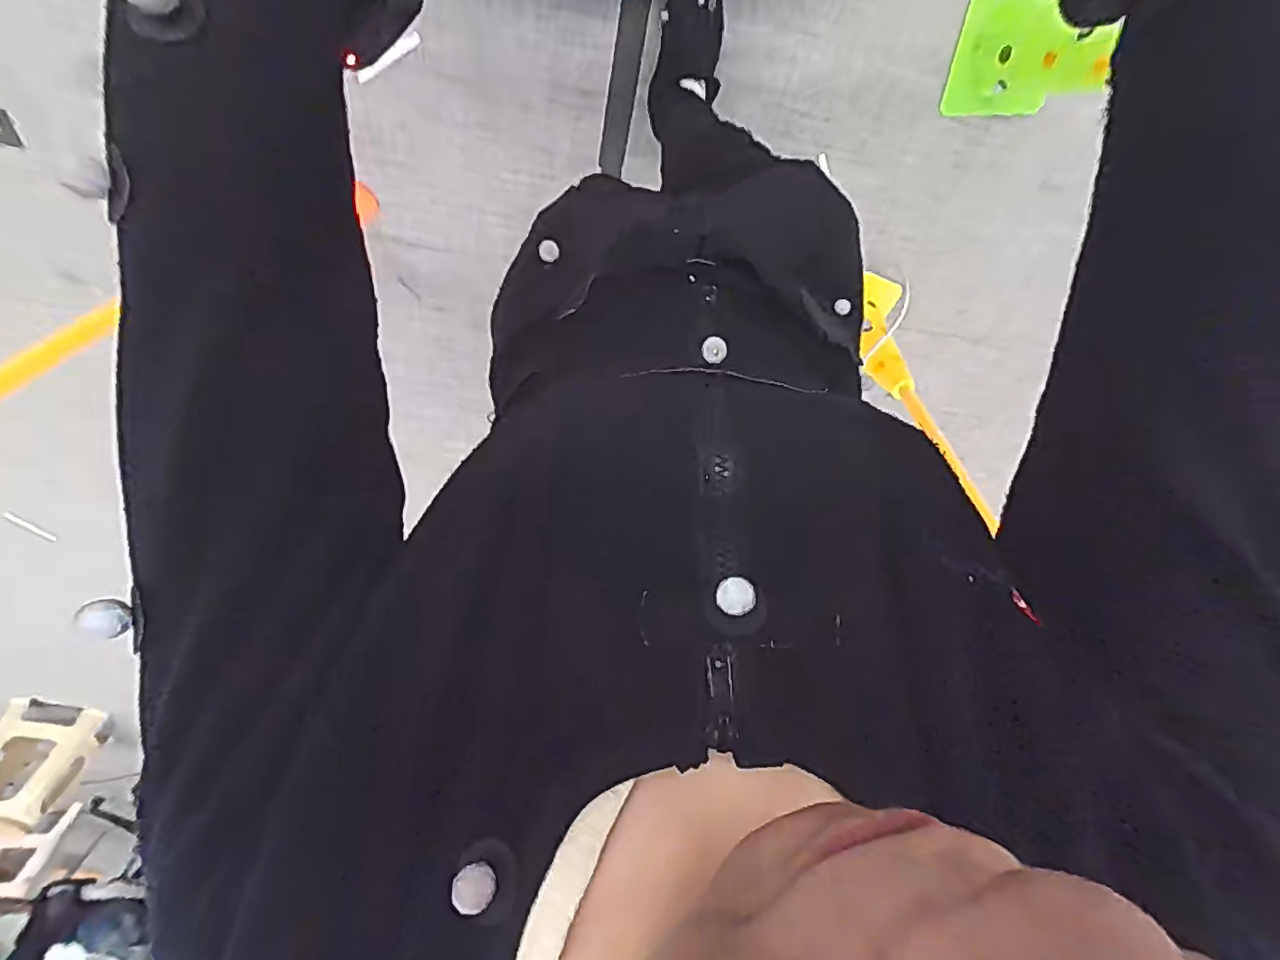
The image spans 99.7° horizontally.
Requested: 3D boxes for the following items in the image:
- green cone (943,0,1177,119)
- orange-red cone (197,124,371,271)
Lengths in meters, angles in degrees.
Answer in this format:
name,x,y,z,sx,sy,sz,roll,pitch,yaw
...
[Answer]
name,x,y,z,sx,sy,sz,roll,pitch,yaw
green cone,0.670,-0.648,0.833,0.200,0.368,0.202,-3,133,0
orange-red cone,-0.659,-0.450,0.946,0.199,0.360,0.198,-28,128,19
